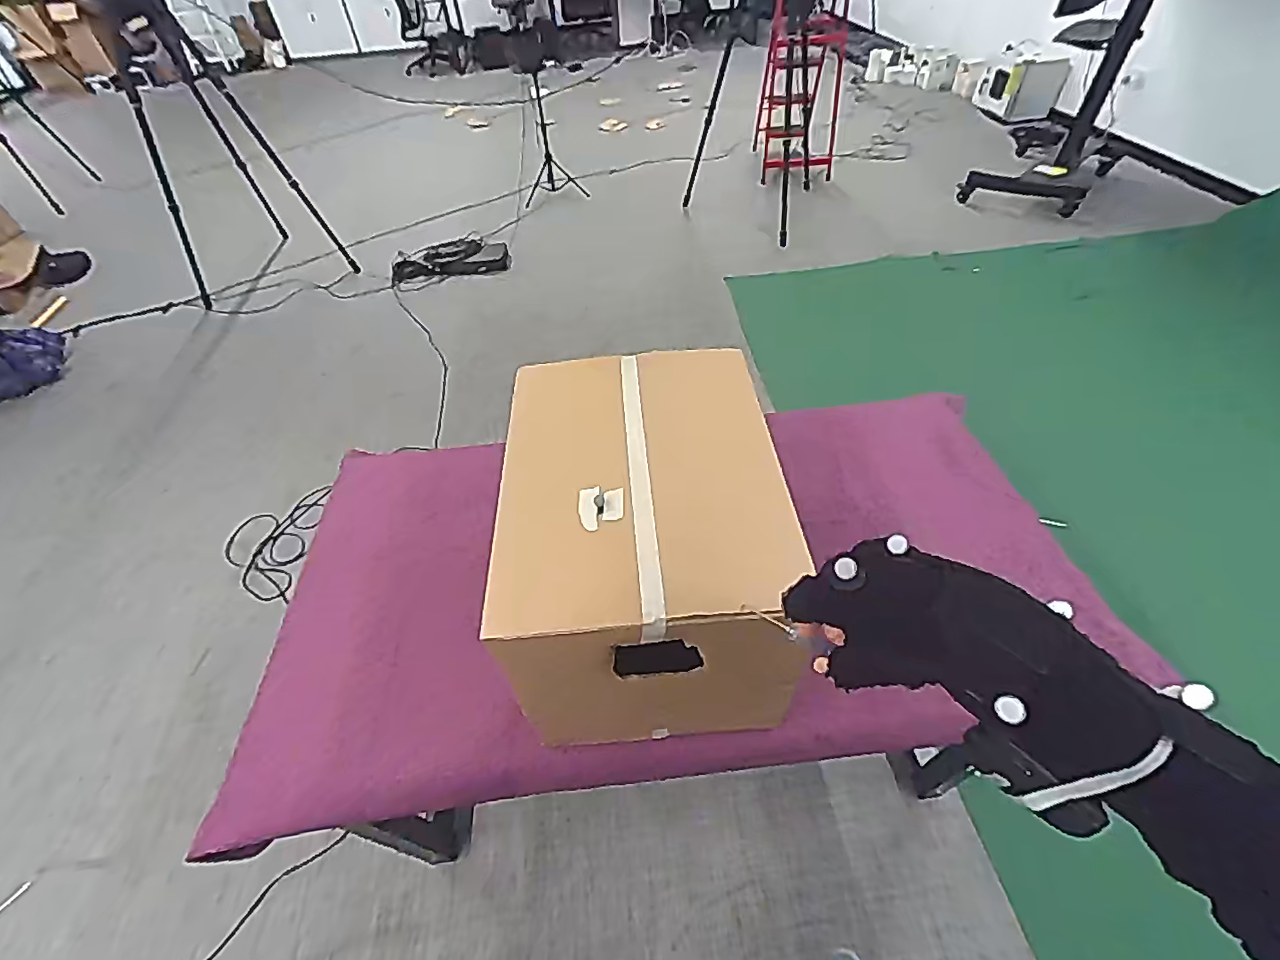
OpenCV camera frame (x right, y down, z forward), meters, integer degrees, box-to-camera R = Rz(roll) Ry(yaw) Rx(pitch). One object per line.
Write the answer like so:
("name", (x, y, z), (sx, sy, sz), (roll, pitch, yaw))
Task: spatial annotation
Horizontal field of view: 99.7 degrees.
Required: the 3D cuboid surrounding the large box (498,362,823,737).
("large box", (0.009, 0.088, 0.741), (0.320, 0.320, 0.408), (-5, 49, 0))
